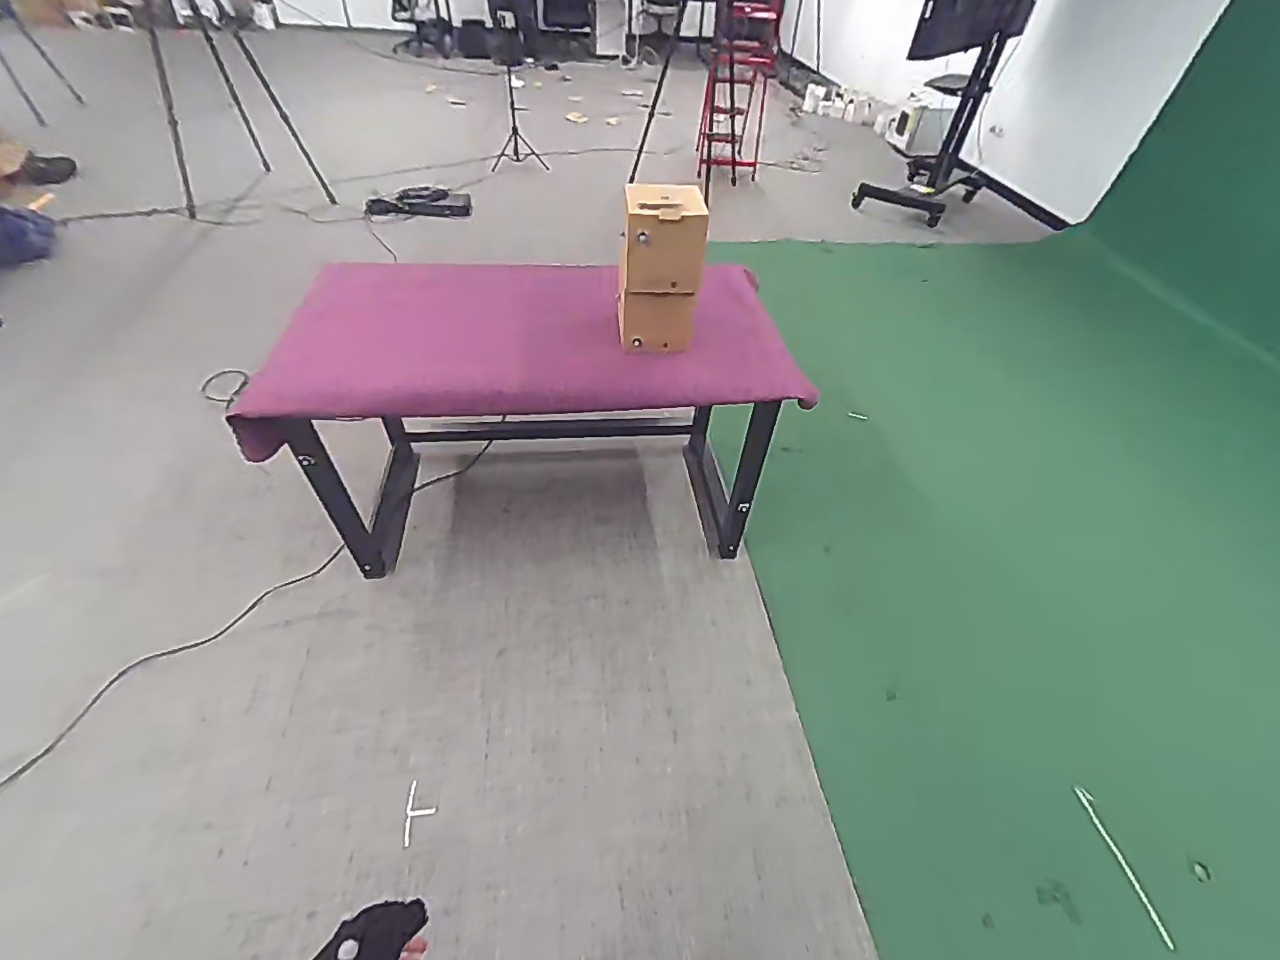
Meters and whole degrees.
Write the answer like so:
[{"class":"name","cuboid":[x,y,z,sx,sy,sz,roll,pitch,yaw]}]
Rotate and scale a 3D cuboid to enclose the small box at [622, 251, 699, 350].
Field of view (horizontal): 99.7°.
[{"class":"small box","cuboid":[0.045,-0.434,1.314,0.168,0.176,0.179,2,47,-5]}]
